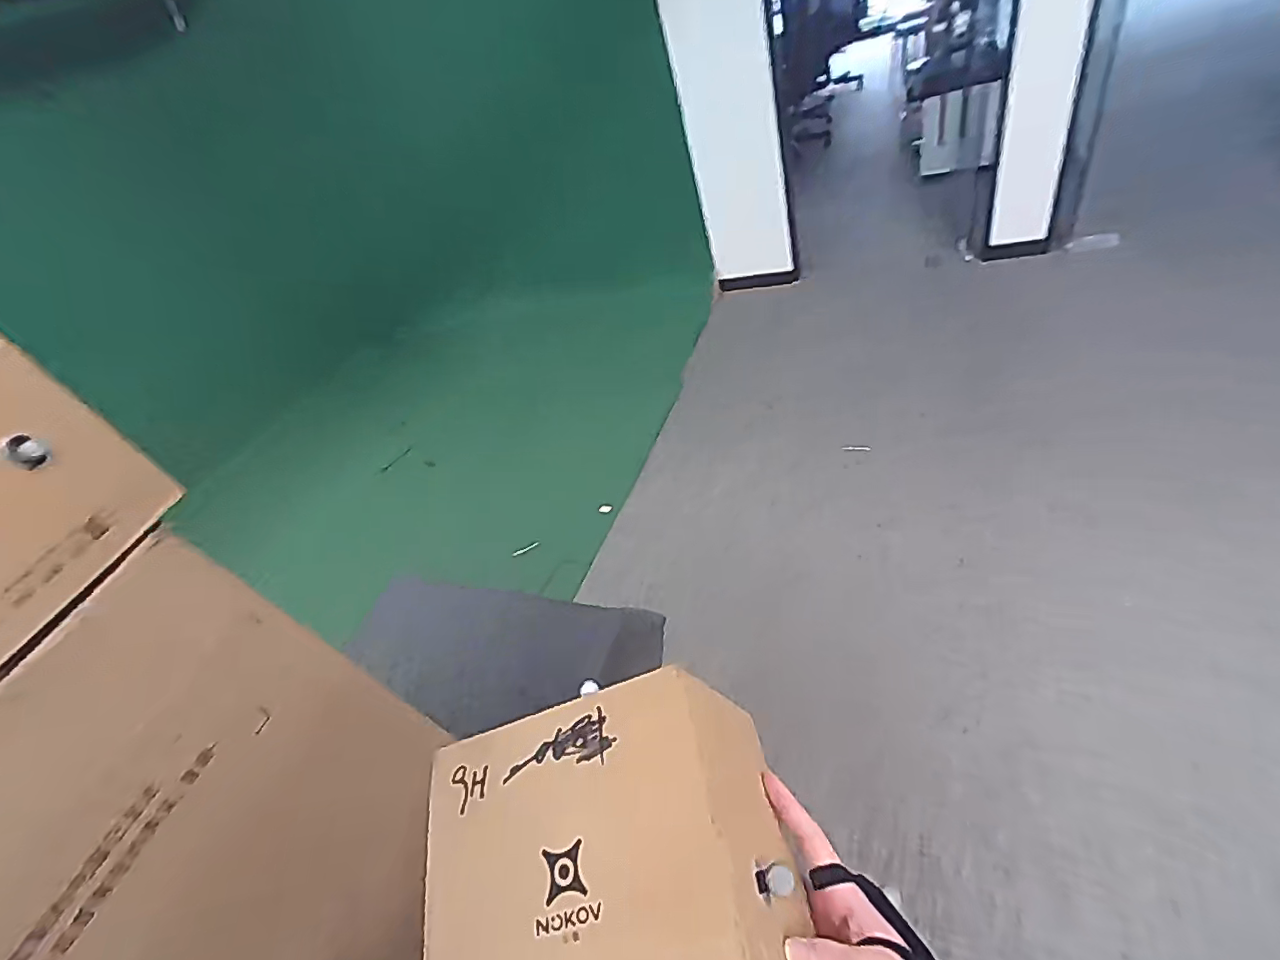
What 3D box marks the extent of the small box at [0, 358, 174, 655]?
[{"bbox_3d":[-0.489,0.025,0.367,0.179,0.176,0.168,-6,41,20],"label":"small box"}]
